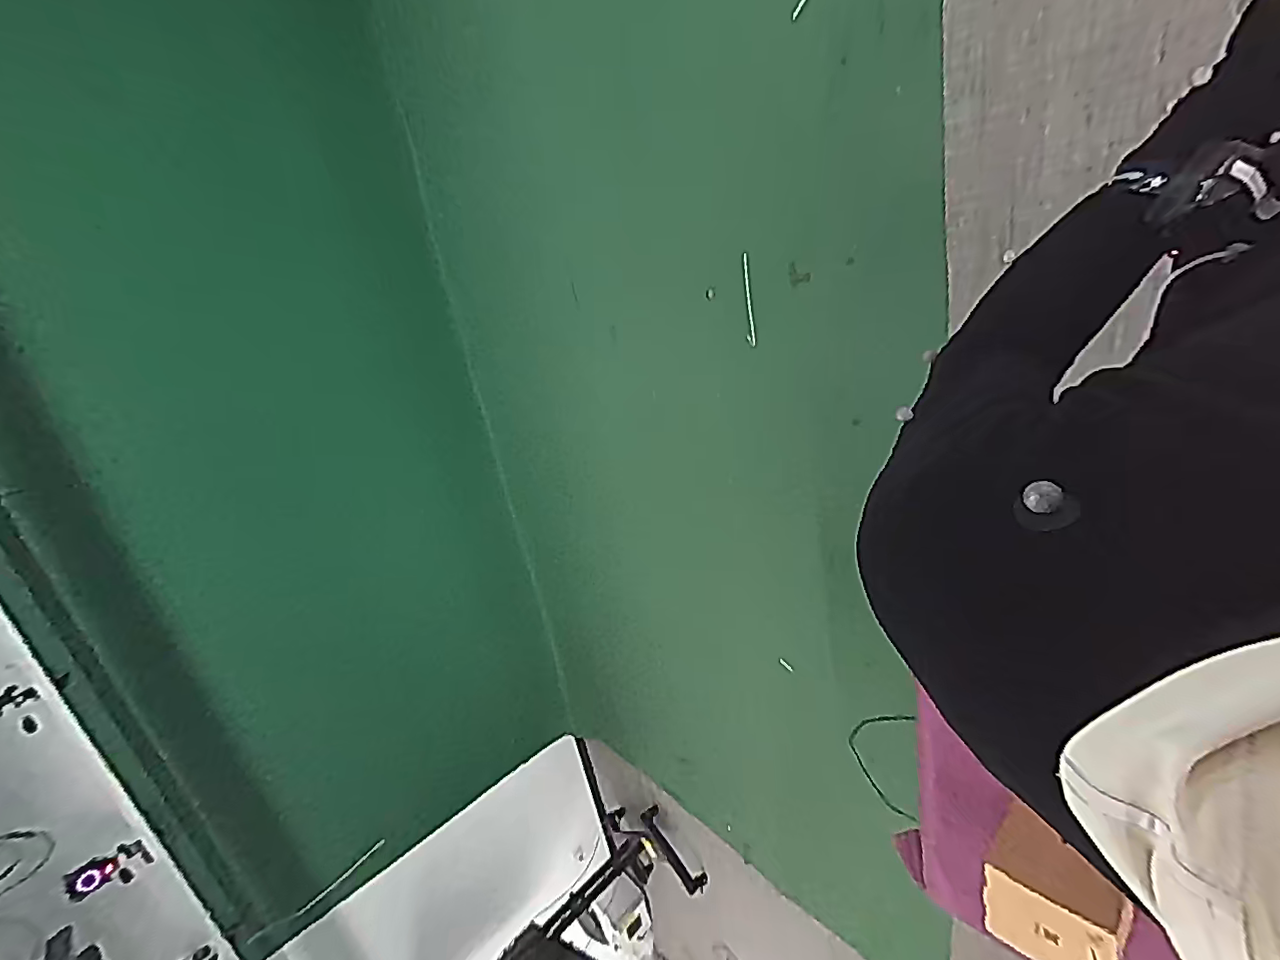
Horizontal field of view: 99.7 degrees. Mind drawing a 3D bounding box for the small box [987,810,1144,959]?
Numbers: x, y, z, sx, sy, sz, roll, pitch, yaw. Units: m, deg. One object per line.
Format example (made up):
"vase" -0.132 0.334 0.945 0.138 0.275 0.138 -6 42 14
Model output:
"small box" 0.718 0.708 0.920 0.179 0.176 0.168 9 118 48
